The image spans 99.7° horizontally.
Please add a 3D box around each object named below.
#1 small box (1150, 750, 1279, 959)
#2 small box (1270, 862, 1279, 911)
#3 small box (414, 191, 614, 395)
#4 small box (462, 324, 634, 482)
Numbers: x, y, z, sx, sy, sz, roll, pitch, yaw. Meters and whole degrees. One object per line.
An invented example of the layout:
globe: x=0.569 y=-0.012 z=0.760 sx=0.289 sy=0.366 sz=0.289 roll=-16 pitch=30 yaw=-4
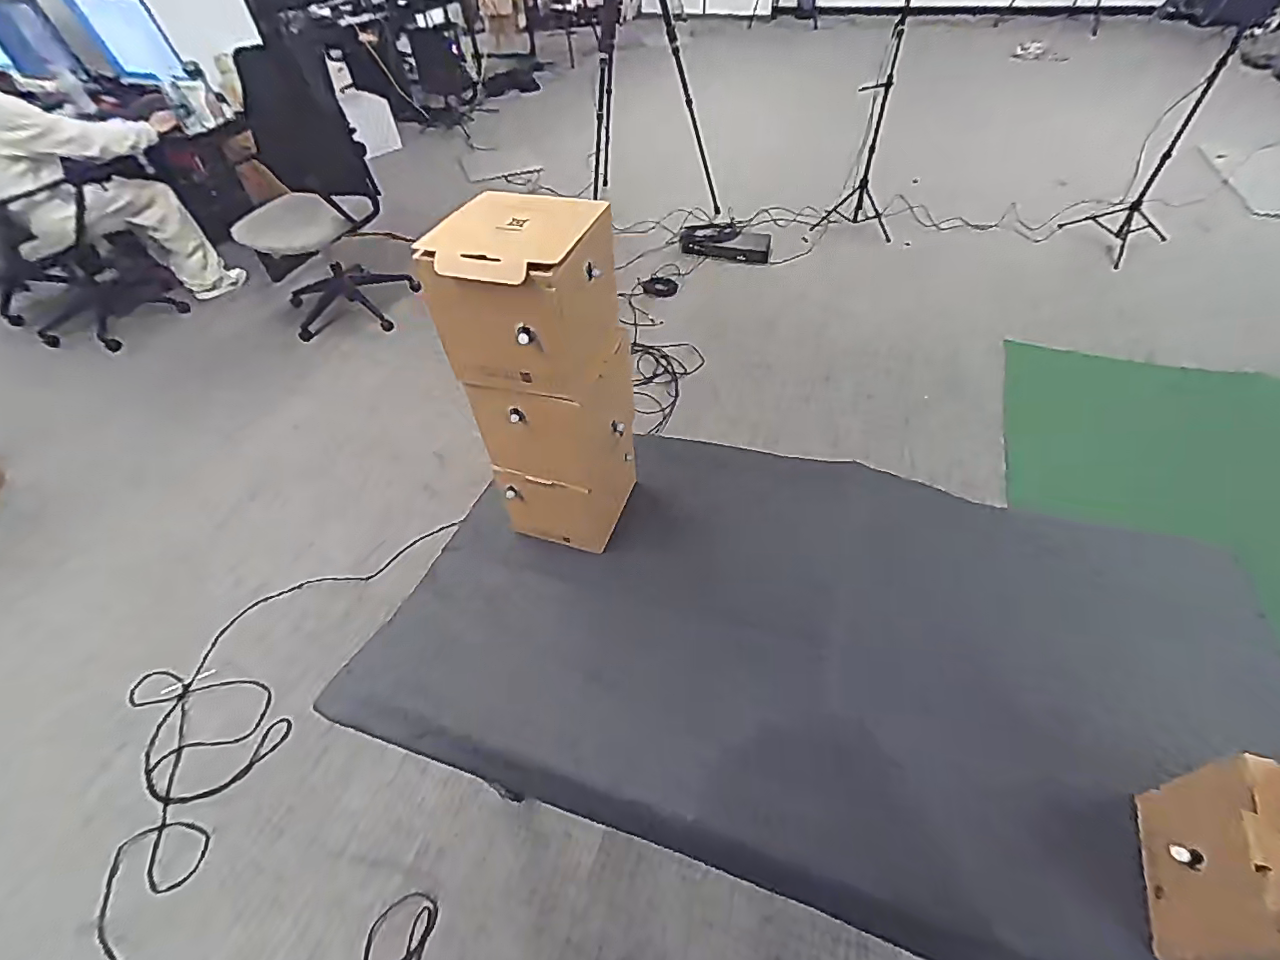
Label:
small box: x=0.623 y=0.392 z=0.500 sx=0.179 sy=0.176 sz=0.168 roll=18 pitch=50 yaw=19
small box: x=0.614 y=0.293 z=0.370 sx=0.168 sy=0.176 sz=0.179 roll=-35 pitch=55 yaw=-27
small box: x=-0.134 y=-0.226 z=0.659 sx=0.168 sy=0.176 sz=0.179 roll=11 pitch=50 yaw=12
small box: x=-0.119 y=-0.119 z=0.781 sx=0.179 sy=0.176 sz=0.168 roll=14 pitch=53 yaw=15
